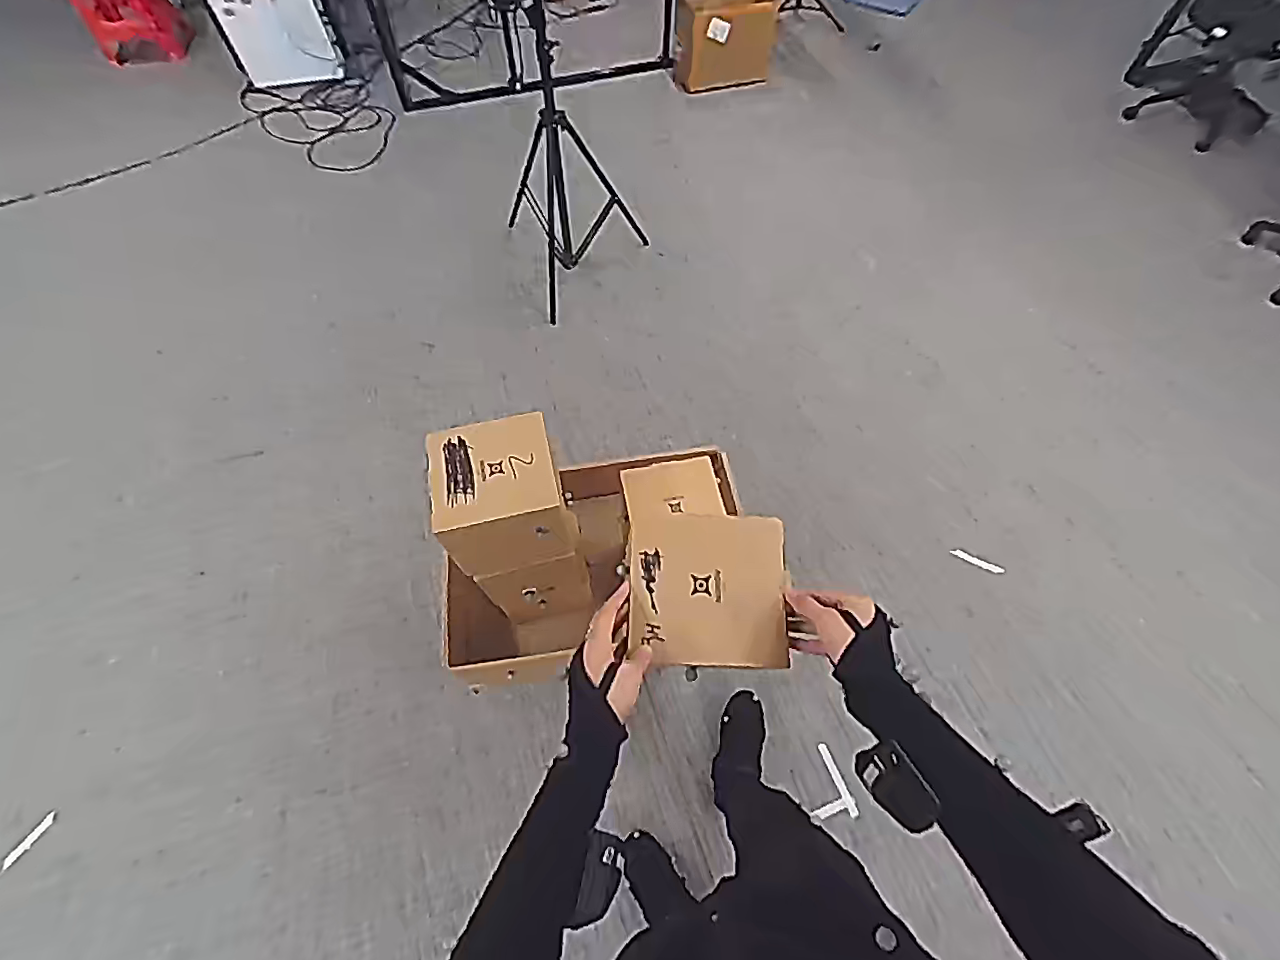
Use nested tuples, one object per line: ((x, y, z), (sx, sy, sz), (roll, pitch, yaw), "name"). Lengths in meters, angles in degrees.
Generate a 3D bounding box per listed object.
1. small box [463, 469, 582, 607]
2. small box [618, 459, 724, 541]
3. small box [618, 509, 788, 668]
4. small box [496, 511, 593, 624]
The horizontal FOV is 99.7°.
((-0.207, 0.108, 0.973), (0.168, 0.176, 0.179), (-14, 62, -6), "small box")
((0.058, 0.087, 0.989), (0.168, 0.176, 0.179), (-10, 61, -6), "small box")
((0.067, 0.140, 0.667), (0.179, 0.176, 0.168), (3, 70, -3), "small box")
((-0.199, 0.186, 1.118), (0.179, 0.176, 0.168), (-11, 62, -7), "small box")
